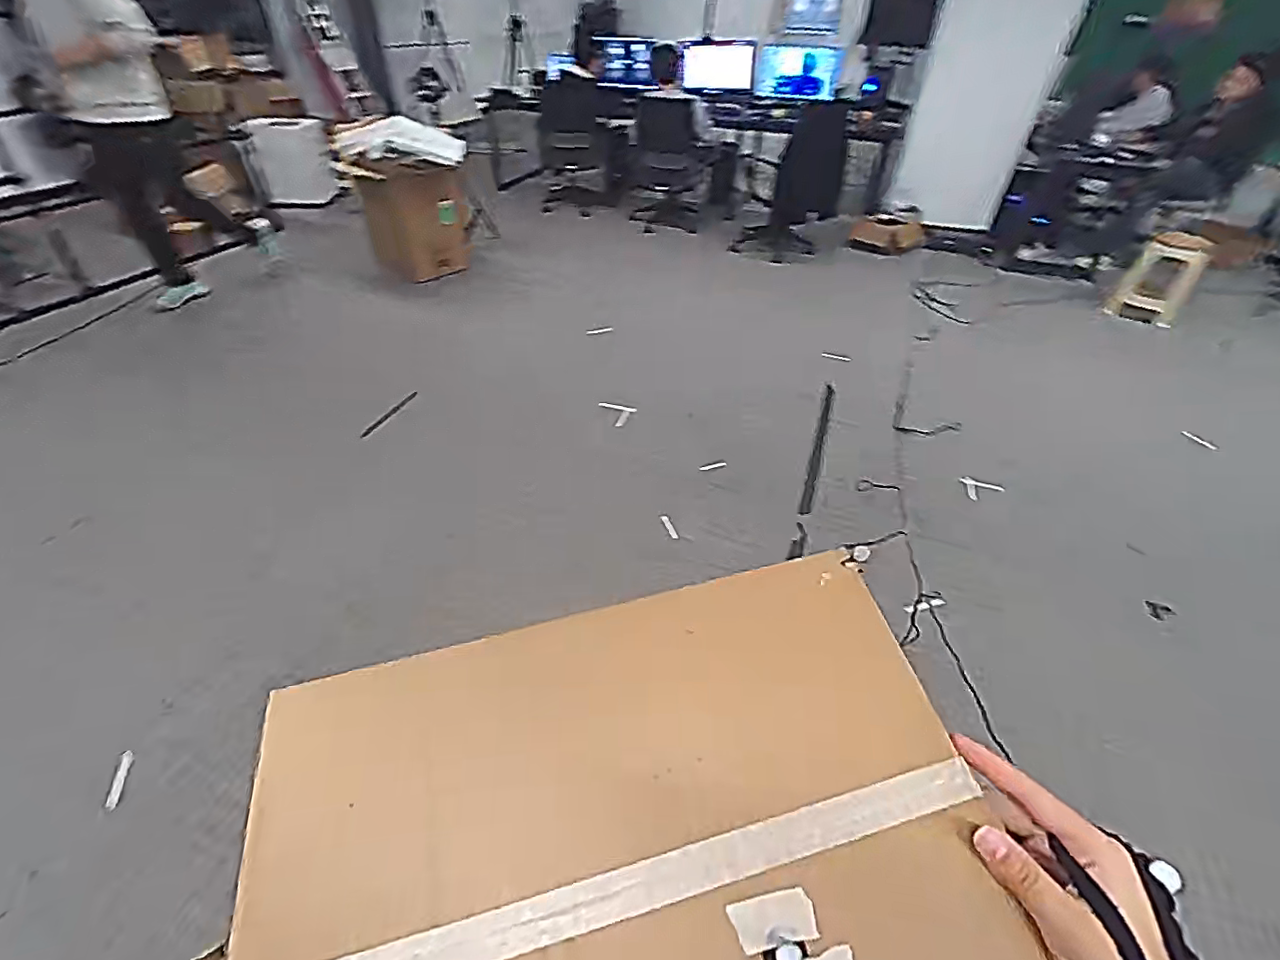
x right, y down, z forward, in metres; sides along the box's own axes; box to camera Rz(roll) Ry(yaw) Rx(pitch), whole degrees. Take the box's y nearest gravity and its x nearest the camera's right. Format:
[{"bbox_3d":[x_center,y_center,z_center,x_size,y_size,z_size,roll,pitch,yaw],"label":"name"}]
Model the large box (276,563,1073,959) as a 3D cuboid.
[{"bbox_3d":[0.008,0.311,0.414,0.408,0.320,0.320,-12,55,-8],"label":"large box"}]
